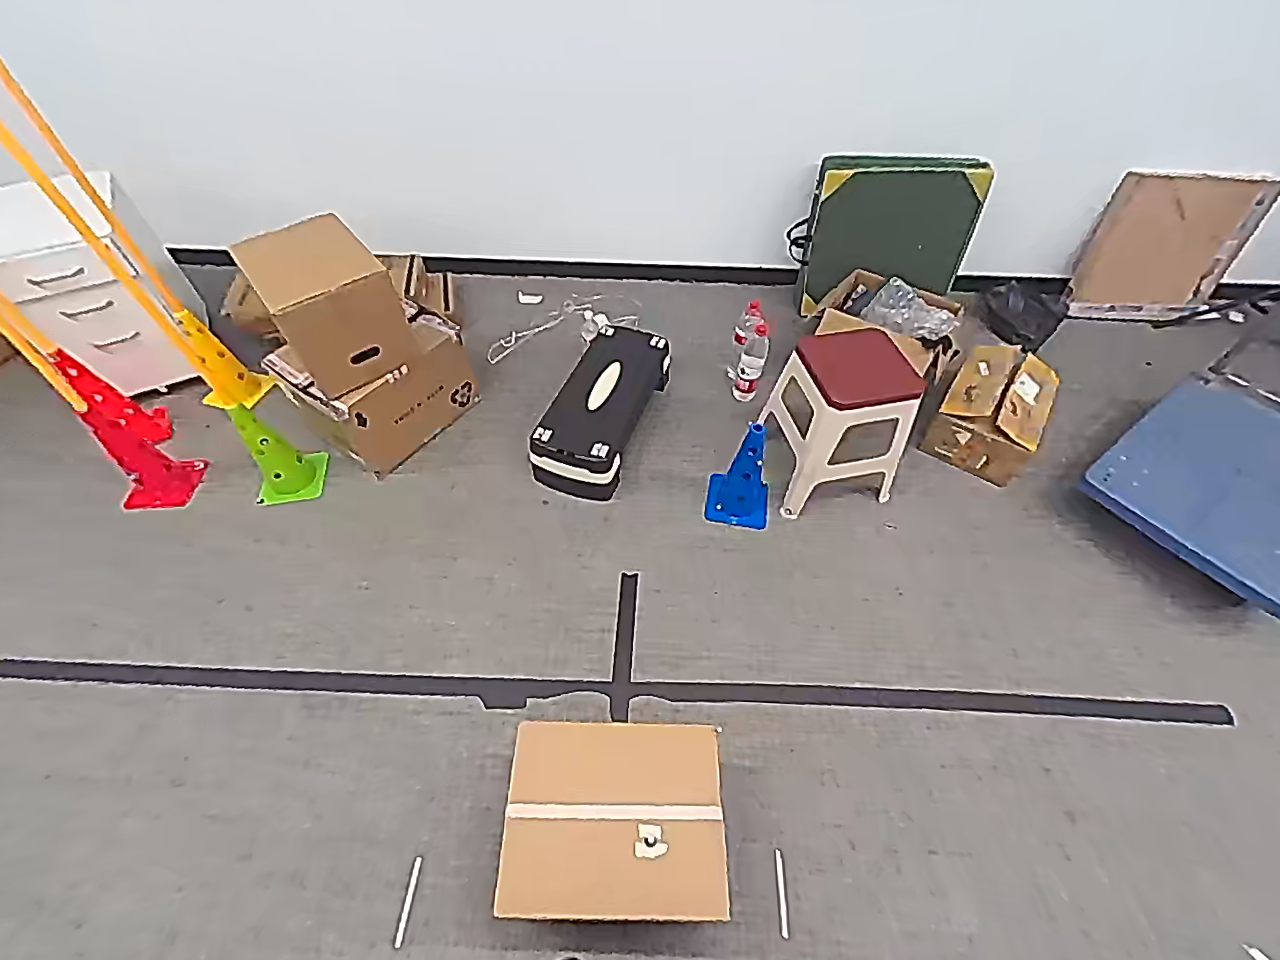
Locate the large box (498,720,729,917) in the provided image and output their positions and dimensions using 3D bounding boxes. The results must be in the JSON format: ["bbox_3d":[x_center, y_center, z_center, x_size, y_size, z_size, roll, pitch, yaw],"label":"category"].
[{"bbox_3d":[-0.051,0.707,1.127,0.408,0.320,0.320,2,53,-1],"label":"large box"}]
